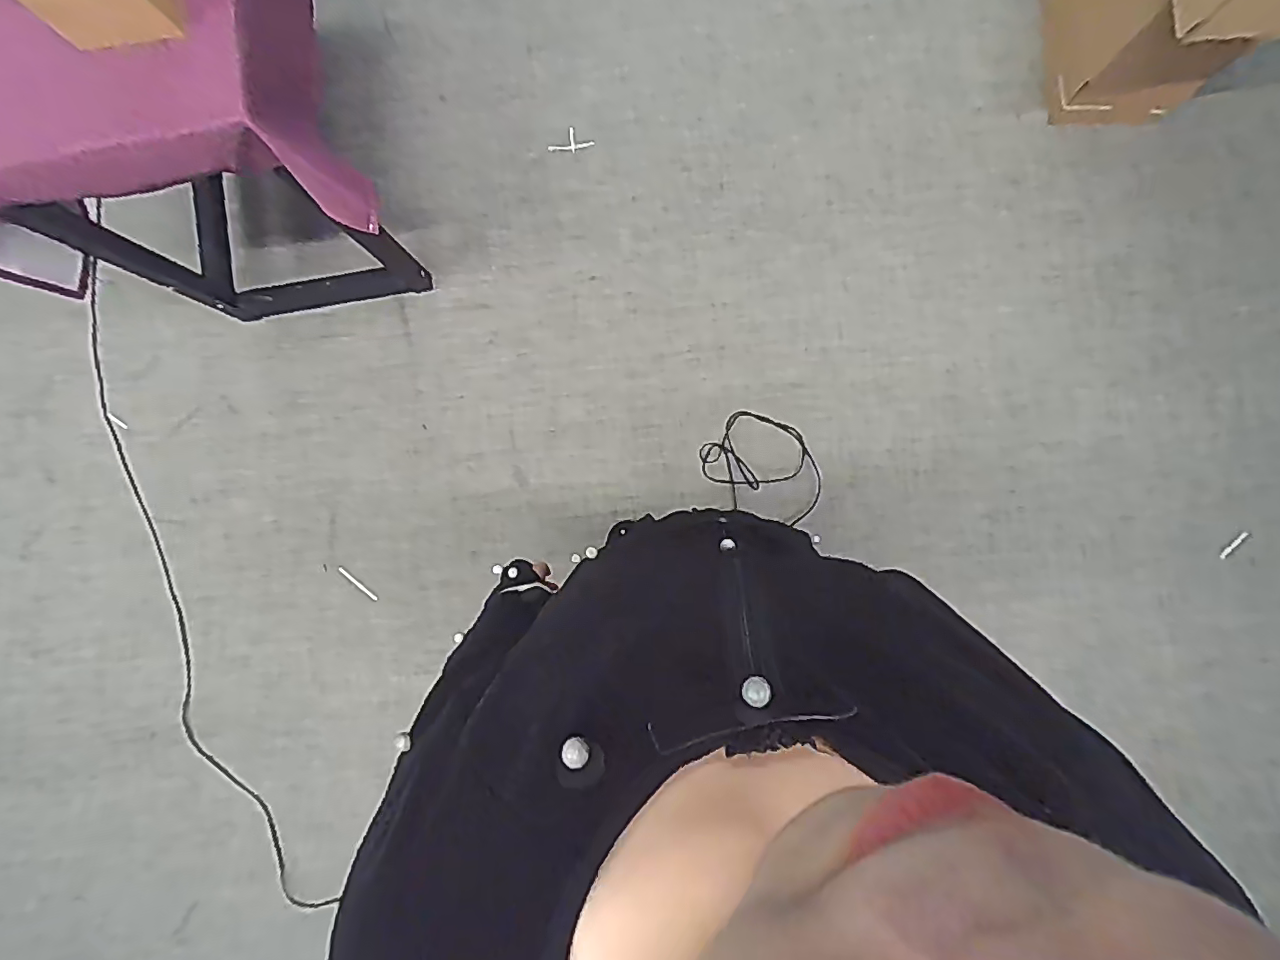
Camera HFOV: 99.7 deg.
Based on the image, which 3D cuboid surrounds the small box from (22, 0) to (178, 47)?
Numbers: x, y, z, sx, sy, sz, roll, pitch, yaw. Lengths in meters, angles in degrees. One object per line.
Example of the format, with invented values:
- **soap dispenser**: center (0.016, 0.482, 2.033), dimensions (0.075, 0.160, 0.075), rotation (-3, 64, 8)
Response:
- **small box**: center (-0.807, -0.771, 0.773), dimensions (0.179, 0.176, 0.168), rotation (-5, 87, 3)
